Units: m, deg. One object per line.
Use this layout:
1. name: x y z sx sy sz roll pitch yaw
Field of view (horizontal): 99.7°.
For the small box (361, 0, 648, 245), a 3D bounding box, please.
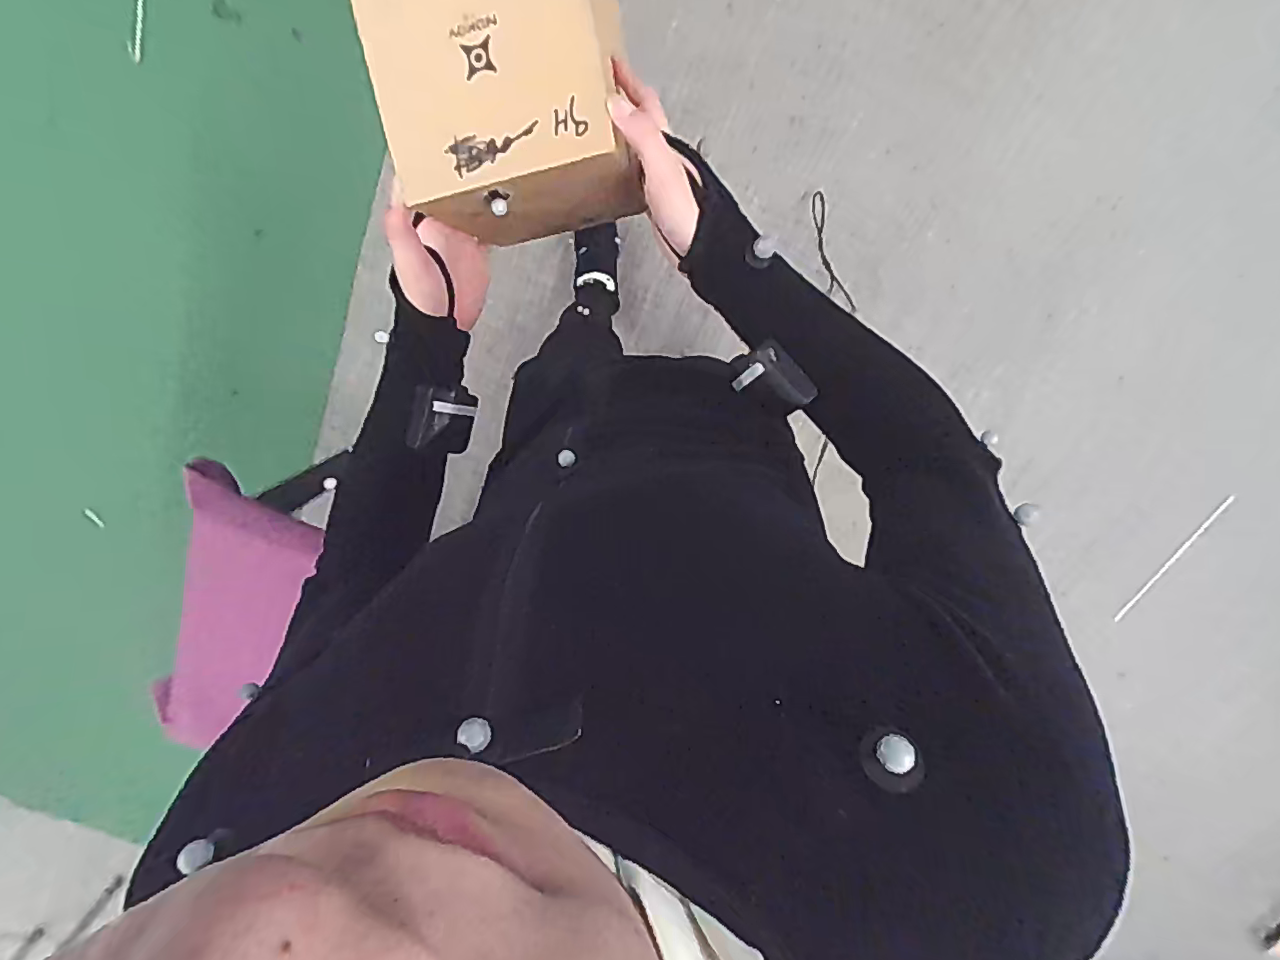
1. small box: -0.095 -0.316 0.446 0.168 0.176 0.179 -7 101 11
